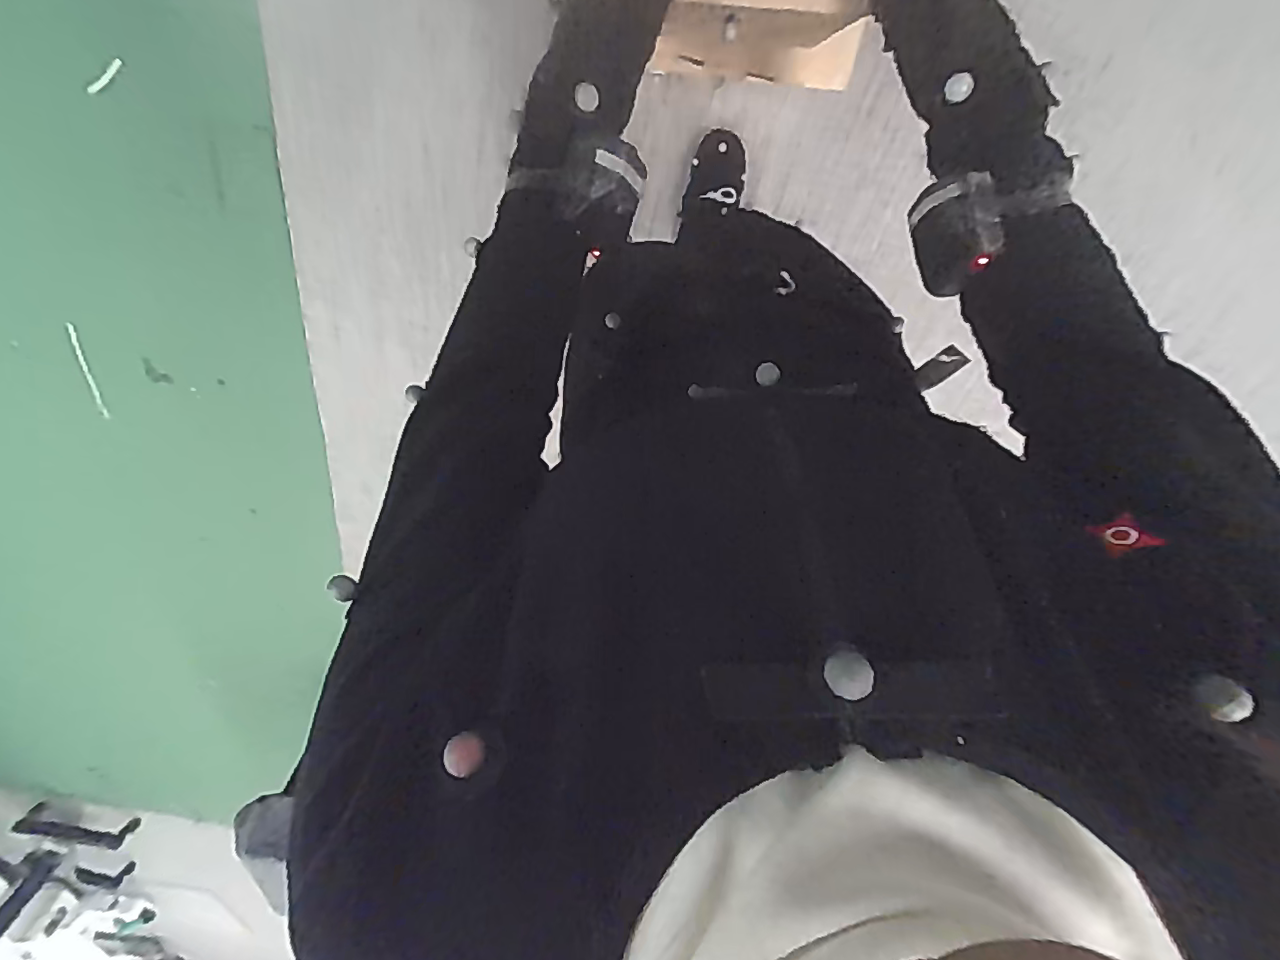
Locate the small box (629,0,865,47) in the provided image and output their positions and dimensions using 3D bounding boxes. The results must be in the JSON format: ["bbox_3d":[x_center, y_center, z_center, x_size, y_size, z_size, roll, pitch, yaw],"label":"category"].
[{"bbox_3d":[0.079,-0.447,0.410,0.179,0.176,0.168,3,122,0],"label":"small box"}]

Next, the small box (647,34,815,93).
[{"bbox_3d":[0.110,-0.536,0.571,0.168,0.176,0.179,11,128,-3],"label":"small box"}]
